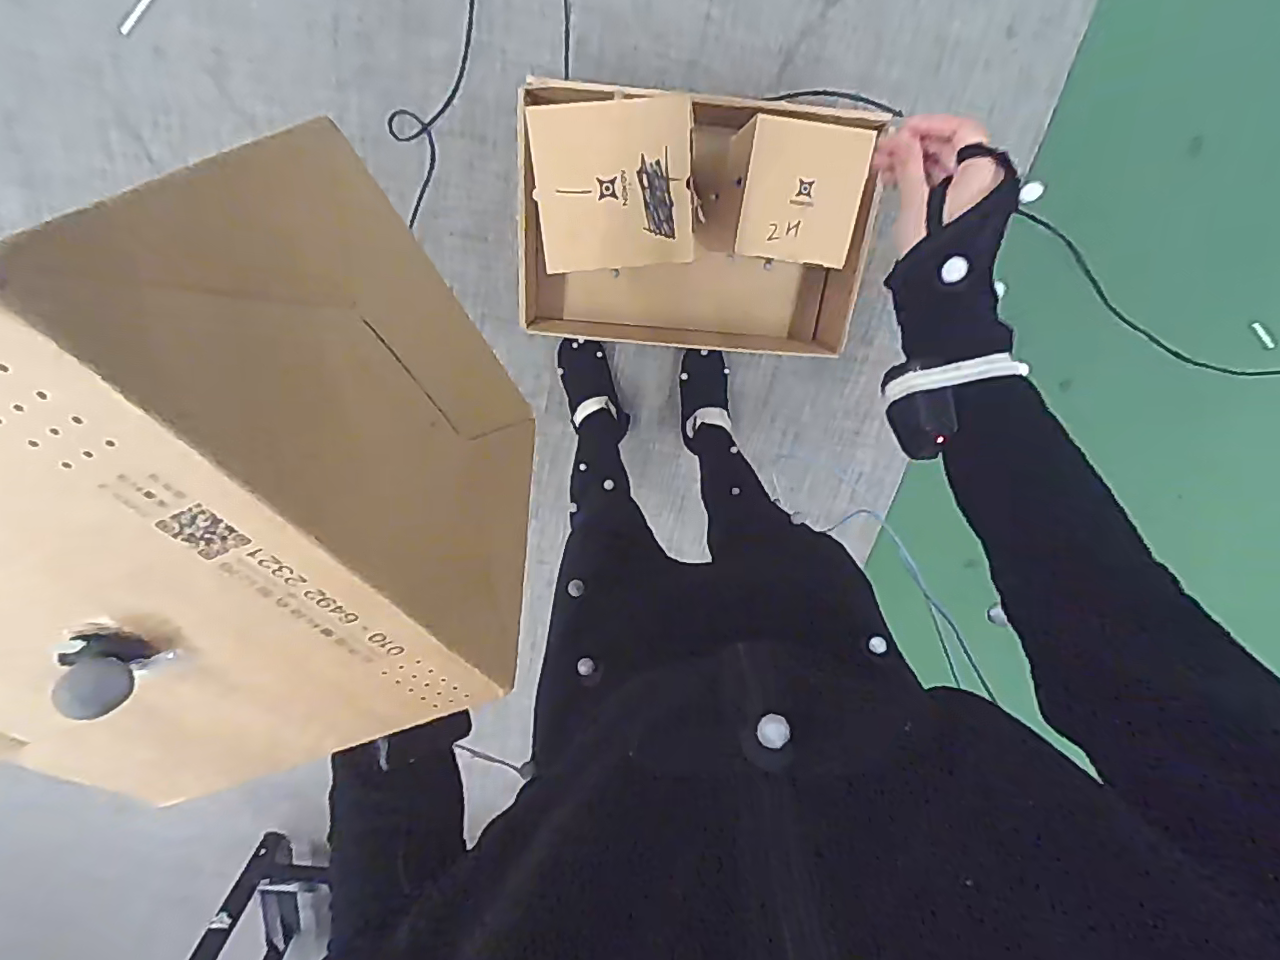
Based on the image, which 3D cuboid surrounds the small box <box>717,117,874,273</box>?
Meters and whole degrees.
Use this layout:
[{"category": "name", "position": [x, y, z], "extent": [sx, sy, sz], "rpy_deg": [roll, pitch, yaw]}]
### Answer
[{"category": "small box", "position": [0.219, -0.421, 0.819], "extent": [0.168, 0.176, 0.179], "rpy_deg": [6, 114, -4]}]

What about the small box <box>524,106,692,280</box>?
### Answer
[{"category": "small box", "position": [-0.035, -0.347, 0.668], "extent": [0.179, 0.176, 0.168], "rpy_deg": [-5, 115, 0]}]

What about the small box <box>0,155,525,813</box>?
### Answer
[{"category": "small box", "position": [-0.163, 0.000, 0.221], "extent": [0.176, 0.179, 0.168], "rpy_deg": [-21, 130, 12]}]
